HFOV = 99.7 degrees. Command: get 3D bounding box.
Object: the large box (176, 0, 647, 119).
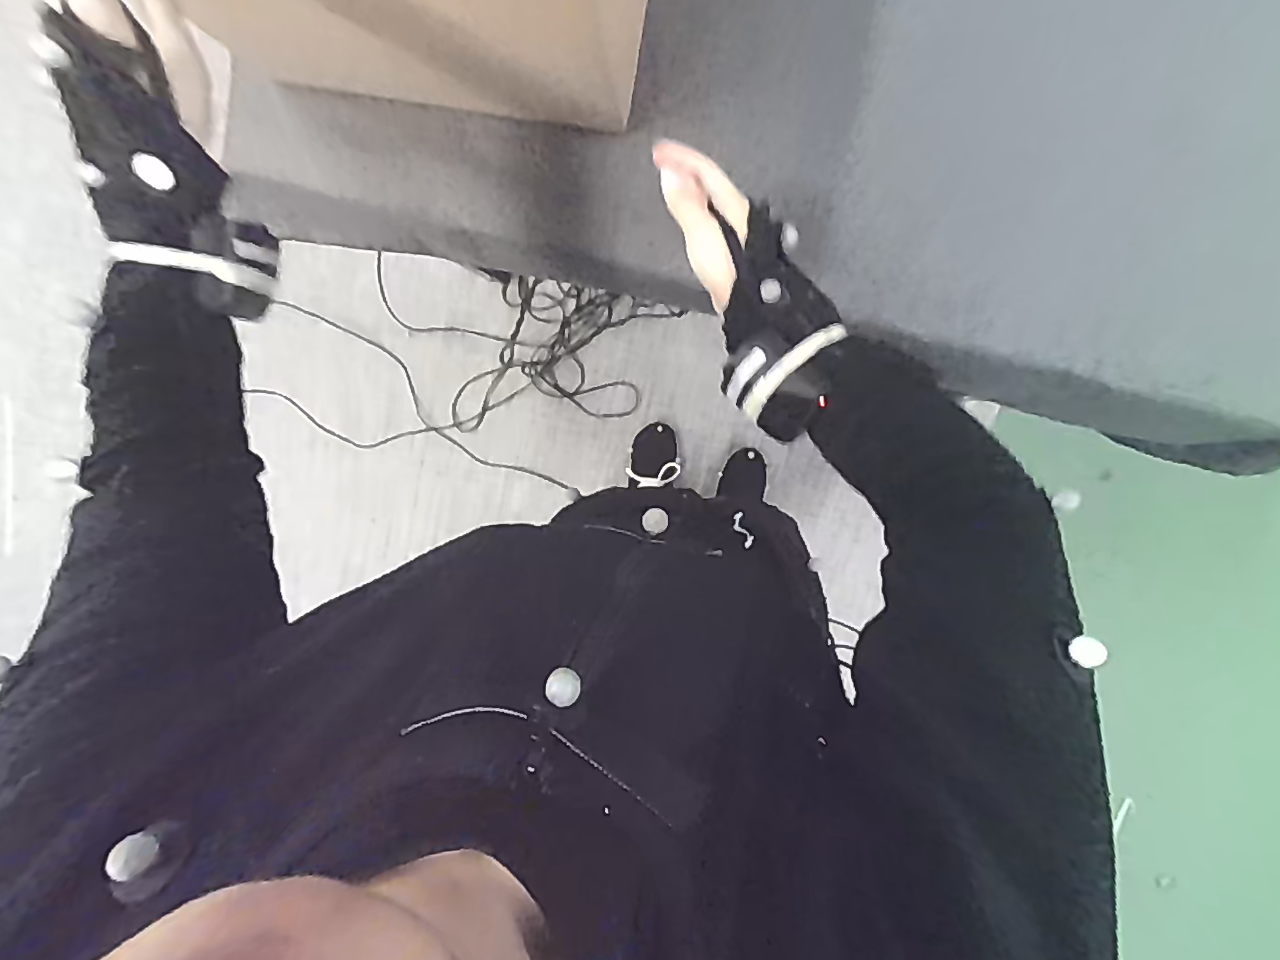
[{"bbox_3d":[-0.192,-0.526,0.401,0.408,0.320,0.320,10,101,2],"label":"large box"}]
